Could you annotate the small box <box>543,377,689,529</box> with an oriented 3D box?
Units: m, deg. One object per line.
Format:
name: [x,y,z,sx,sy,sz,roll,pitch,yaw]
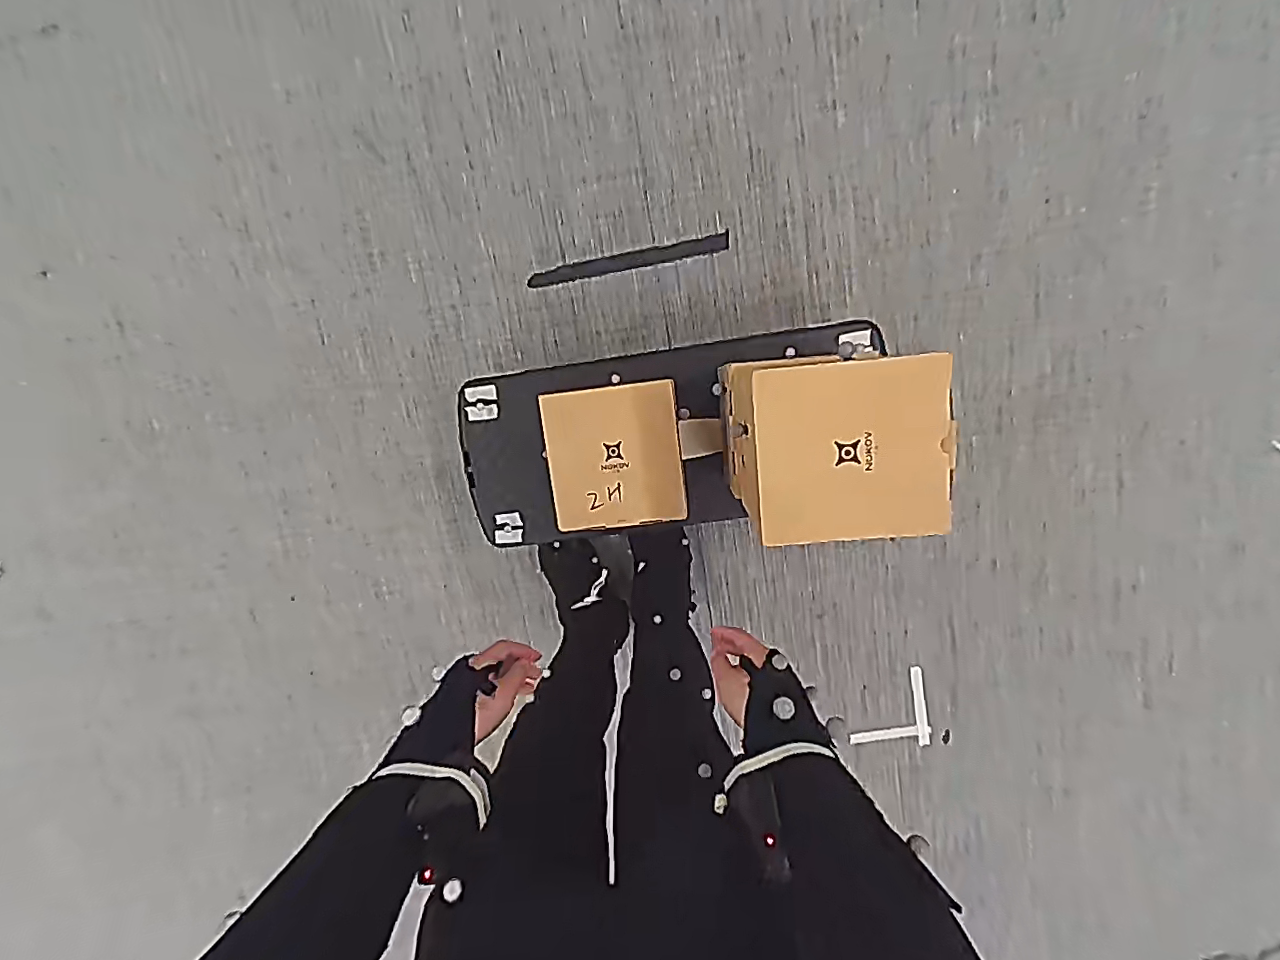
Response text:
small box: [-0.025,-0.044,0.745,0.168,0.176,0.179,-6,100,5]

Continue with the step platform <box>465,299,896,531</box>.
step platform: [0.066,-0.103,0.905,0.684,0.204,0.286,-8,99,6]

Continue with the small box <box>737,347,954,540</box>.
small box: [0.198,-0.042,0.565,0.179,0.176,0.168,-5,100,4]
